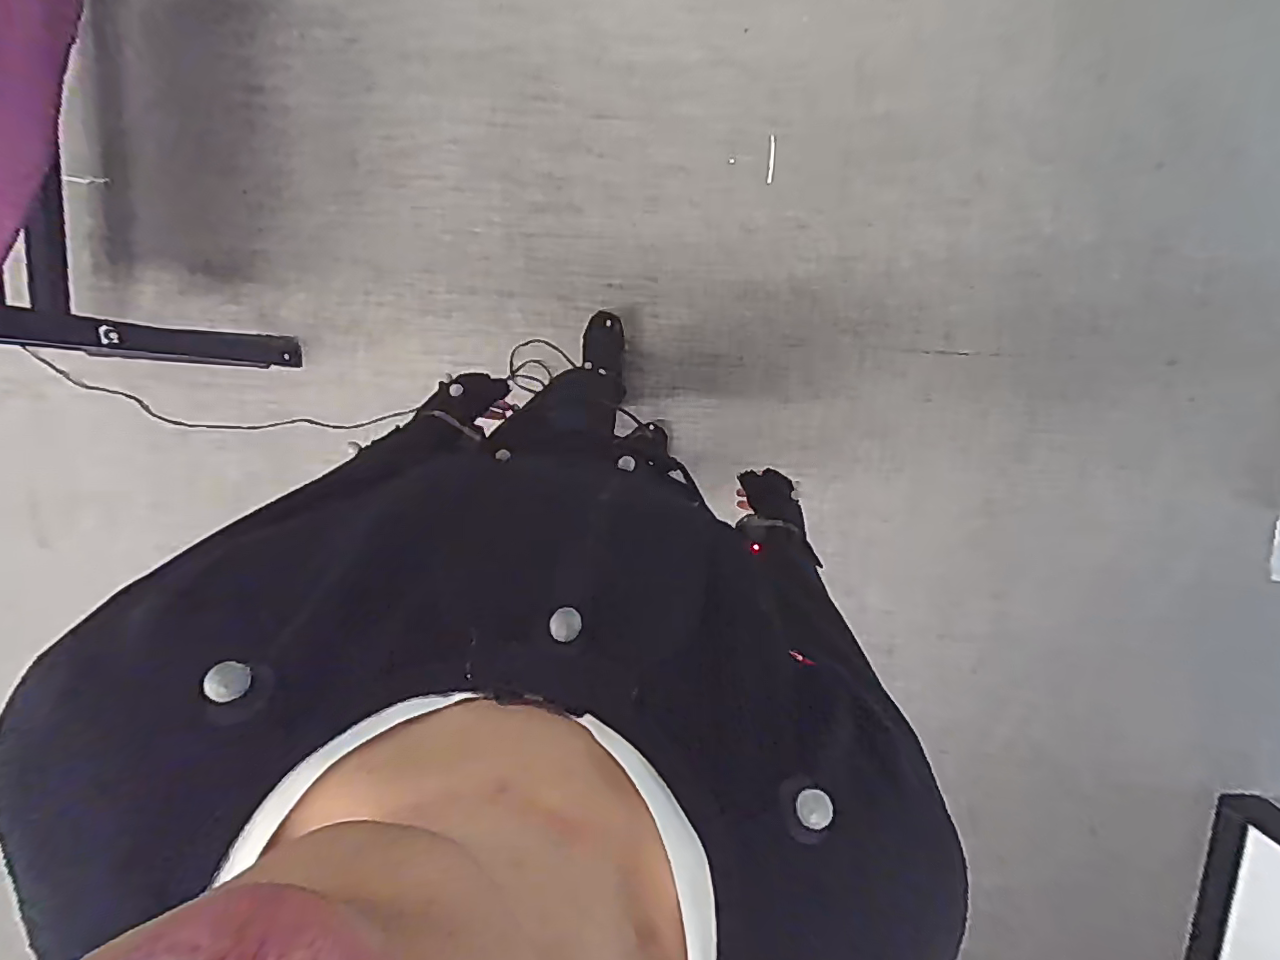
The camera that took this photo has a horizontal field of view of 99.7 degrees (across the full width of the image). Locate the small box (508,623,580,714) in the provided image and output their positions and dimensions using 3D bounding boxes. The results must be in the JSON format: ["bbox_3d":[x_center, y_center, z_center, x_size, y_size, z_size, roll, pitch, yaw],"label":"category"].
[{"bbox_3d":[-0.254,0.507,1.467,0.168,0.176,0.179,1,99,1],"label":"small box"}]
